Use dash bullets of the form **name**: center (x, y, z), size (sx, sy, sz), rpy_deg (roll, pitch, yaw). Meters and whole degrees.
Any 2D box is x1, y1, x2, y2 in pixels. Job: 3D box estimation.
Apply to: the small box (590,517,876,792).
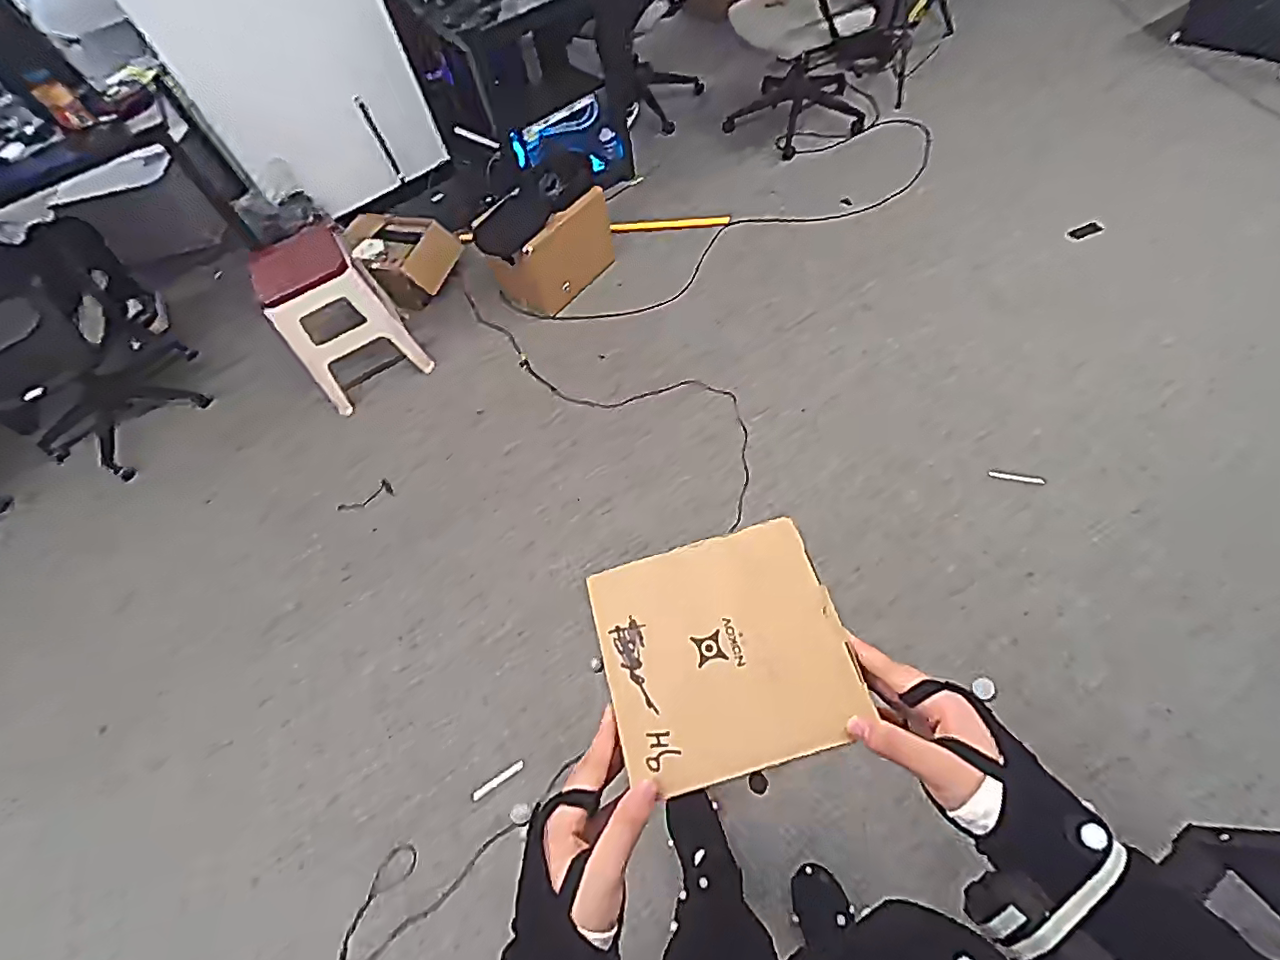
- **small box**: center (0.069, 0.158, 0.473), size (0.179, 0.176, 0.168), rpy_deg (-16, 59, -1)
